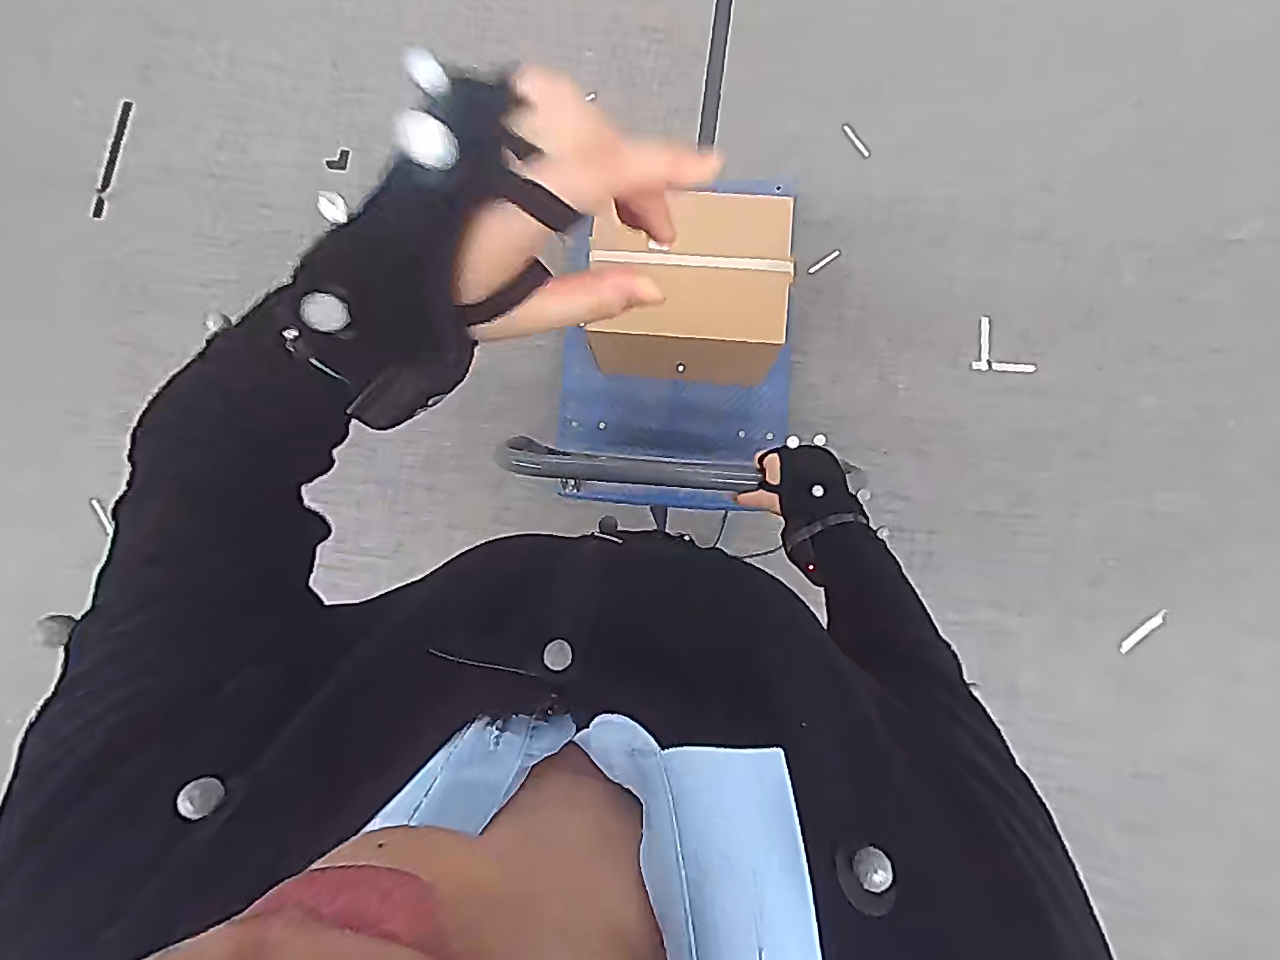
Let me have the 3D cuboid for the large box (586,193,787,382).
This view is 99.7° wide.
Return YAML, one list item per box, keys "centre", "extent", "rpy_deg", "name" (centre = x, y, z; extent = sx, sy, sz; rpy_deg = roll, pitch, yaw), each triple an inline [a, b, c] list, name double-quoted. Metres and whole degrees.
- centre: [0.106, -0.425, 1.256]
  extent: [0.408, 0.320, 0.320]
  rpy_deg: [4, 83, 4]
  name: "large box"
